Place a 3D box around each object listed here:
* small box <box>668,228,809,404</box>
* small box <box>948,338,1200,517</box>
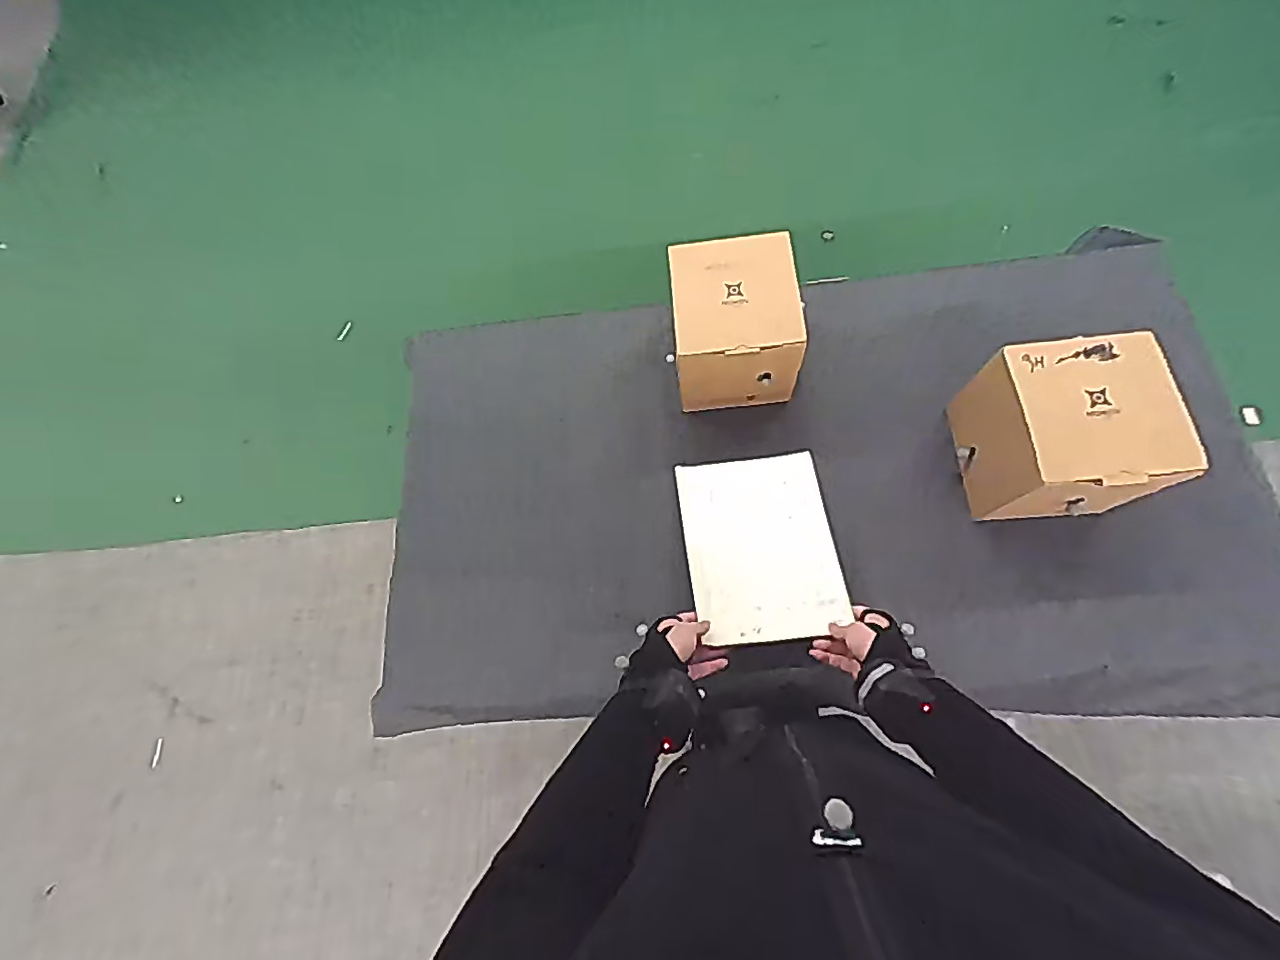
[{"bbox_3d":[0.132,-0.219,0.769,0.168,0.176,0.179,-6,71,4],"label":"small box"},{"bbox_3d":[0.522,-0.053,0.682,0.168,0.176,0.179,-5,73,5],"label":"small box"}]
